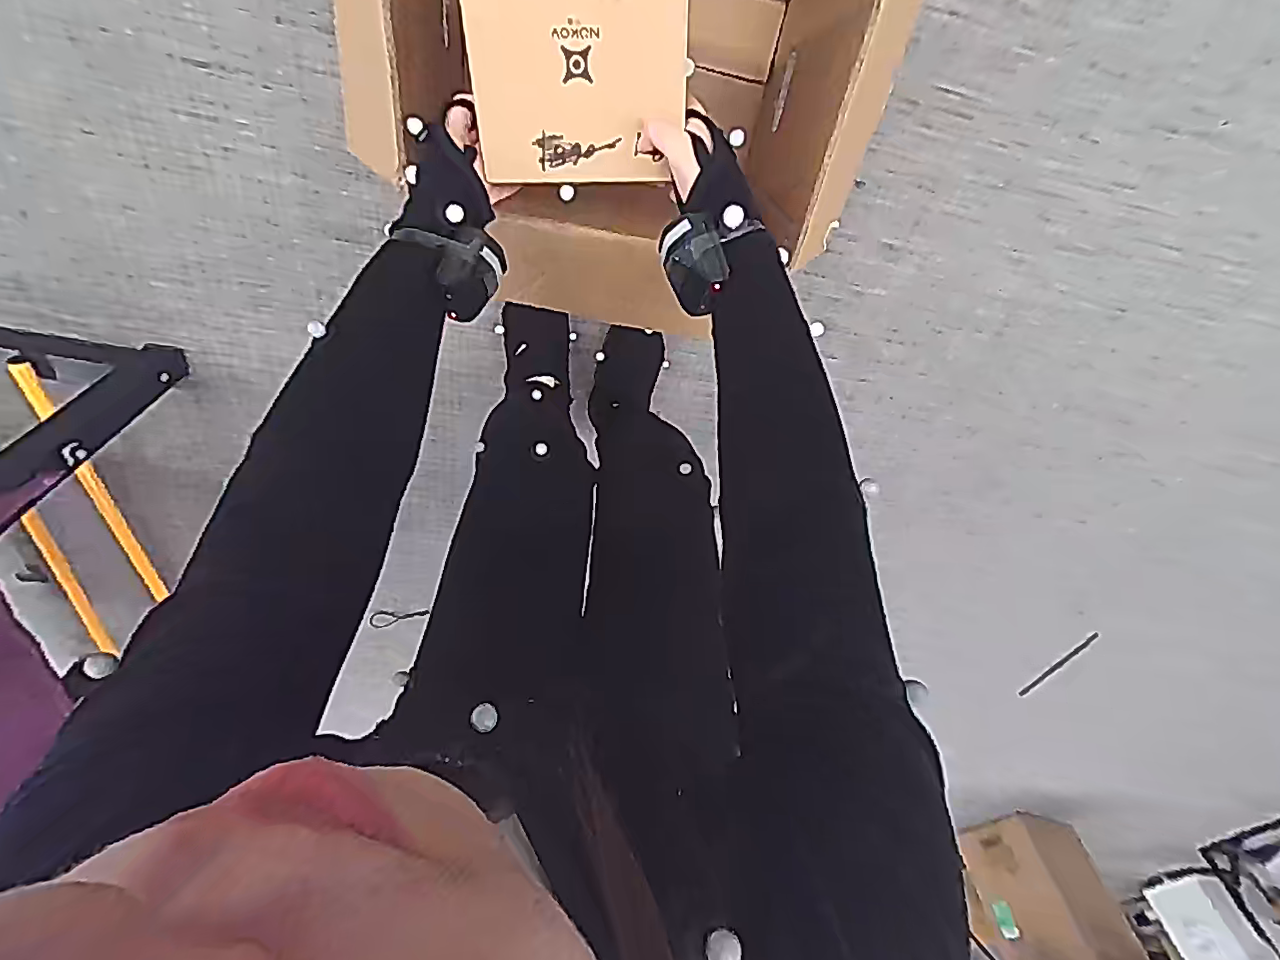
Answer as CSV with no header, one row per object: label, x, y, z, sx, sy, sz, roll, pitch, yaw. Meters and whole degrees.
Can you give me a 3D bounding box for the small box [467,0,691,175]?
small box,-0.047,-0.369,0.473,0.168,0.176,0.179,0,121,-1
